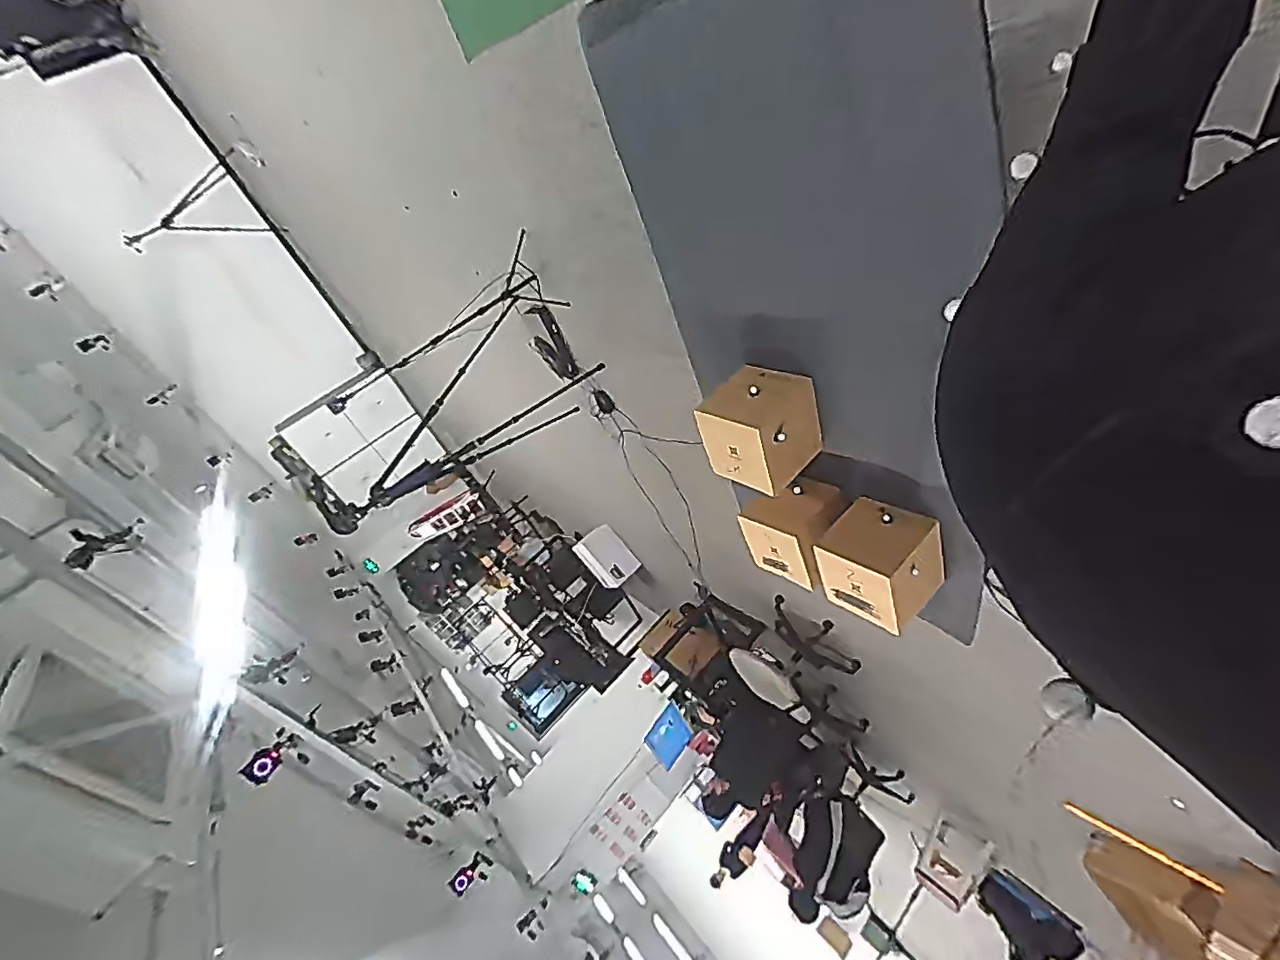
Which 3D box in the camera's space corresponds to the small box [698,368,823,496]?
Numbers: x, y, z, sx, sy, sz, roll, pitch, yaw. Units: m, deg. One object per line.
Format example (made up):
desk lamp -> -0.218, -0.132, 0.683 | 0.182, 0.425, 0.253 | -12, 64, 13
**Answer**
small box -> 0.249, -0.105, 1.096 | 0.168, 0.176, 0.179 | 26, 150, 45
